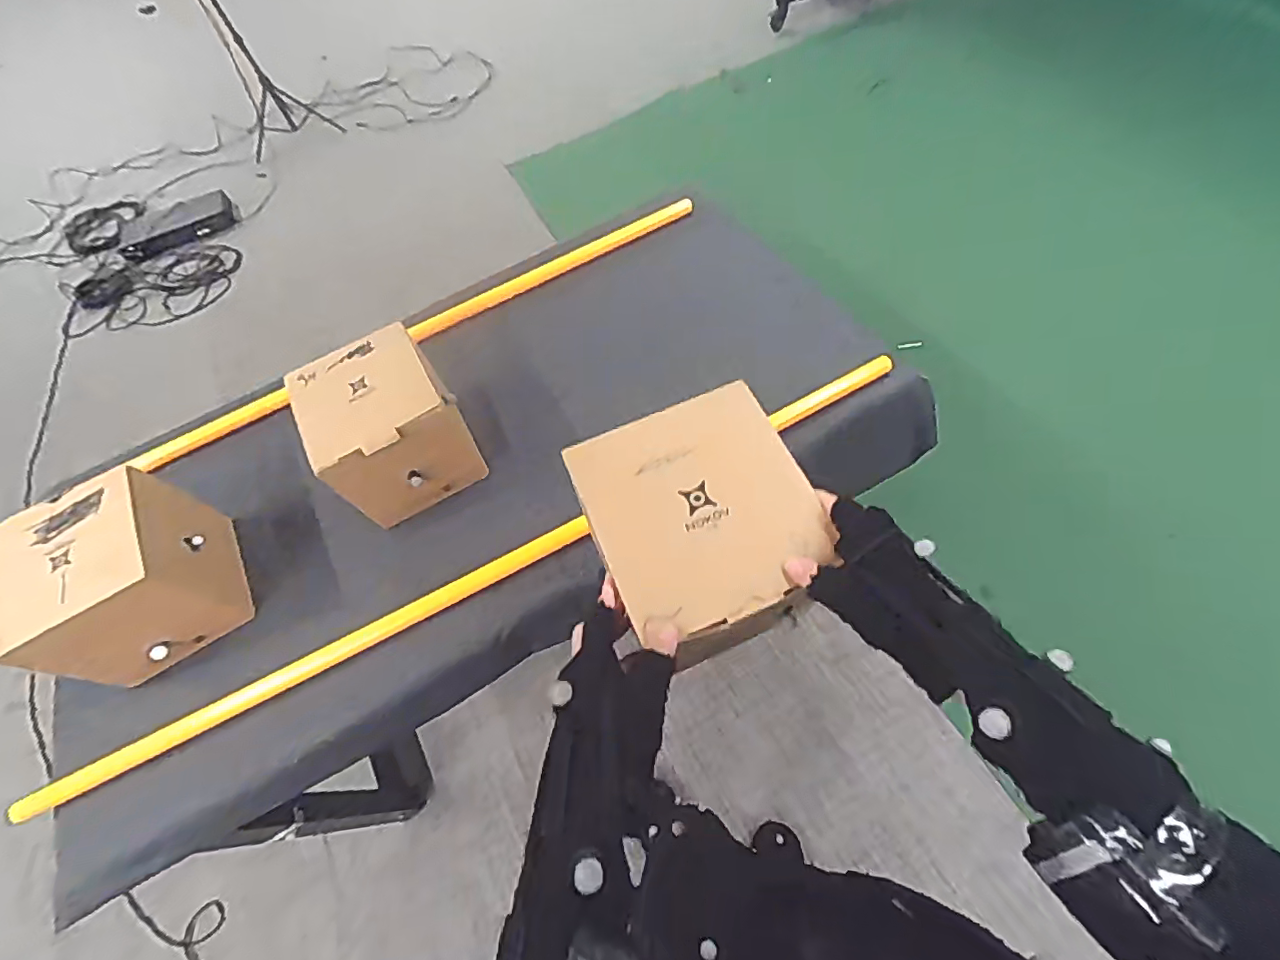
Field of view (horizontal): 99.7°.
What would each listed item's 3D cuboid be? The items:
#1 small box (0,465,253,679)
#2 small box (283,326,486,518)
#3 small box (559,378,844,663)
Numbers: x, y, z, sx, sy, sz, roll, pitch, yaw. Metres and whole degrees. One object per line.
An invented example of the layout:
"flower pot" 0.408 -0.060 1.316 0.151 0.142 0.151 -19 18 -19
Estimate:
"small box" -0.629 0.120 0.671 0.168 0.176 0.179 -31 63 -11
"small box" -0.340 -0.068 0.744 0.168 0.176 0.179 -33 62 -10
"small box" 0.046 0.048 0.482 0.168 0.176 0.179 -22 63 -8
